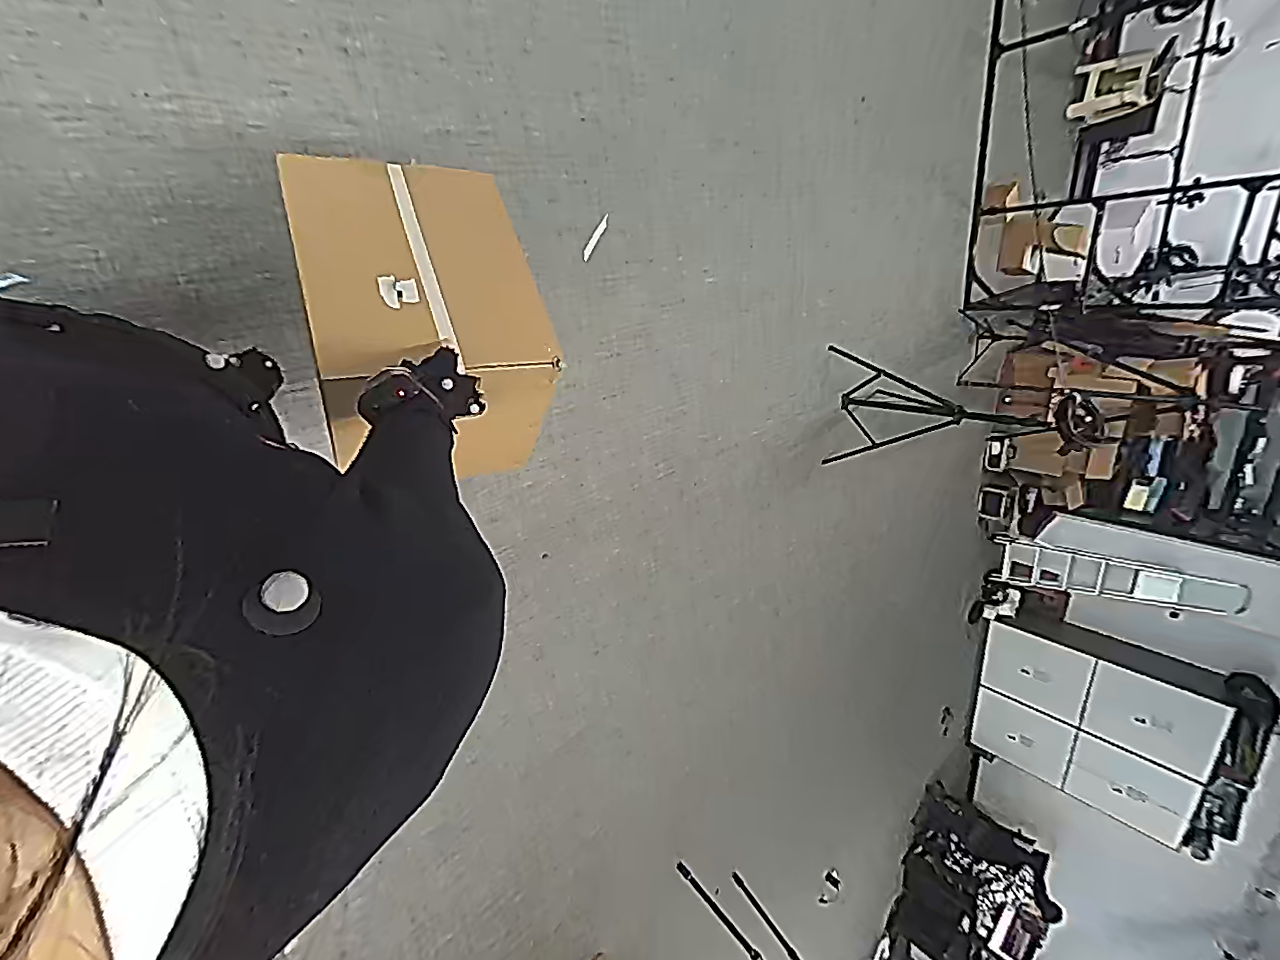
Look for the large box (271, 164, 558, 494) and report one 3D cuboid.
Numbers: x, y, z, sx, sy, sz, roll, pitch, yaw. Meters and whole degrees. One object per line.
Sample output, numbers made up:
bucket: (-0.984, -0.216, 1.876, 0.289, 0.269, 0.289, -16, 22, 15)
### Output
large box: (-0.378, -0.239, 0.902, 0.320, 0.320, 0.408, -12, 69, -28)
